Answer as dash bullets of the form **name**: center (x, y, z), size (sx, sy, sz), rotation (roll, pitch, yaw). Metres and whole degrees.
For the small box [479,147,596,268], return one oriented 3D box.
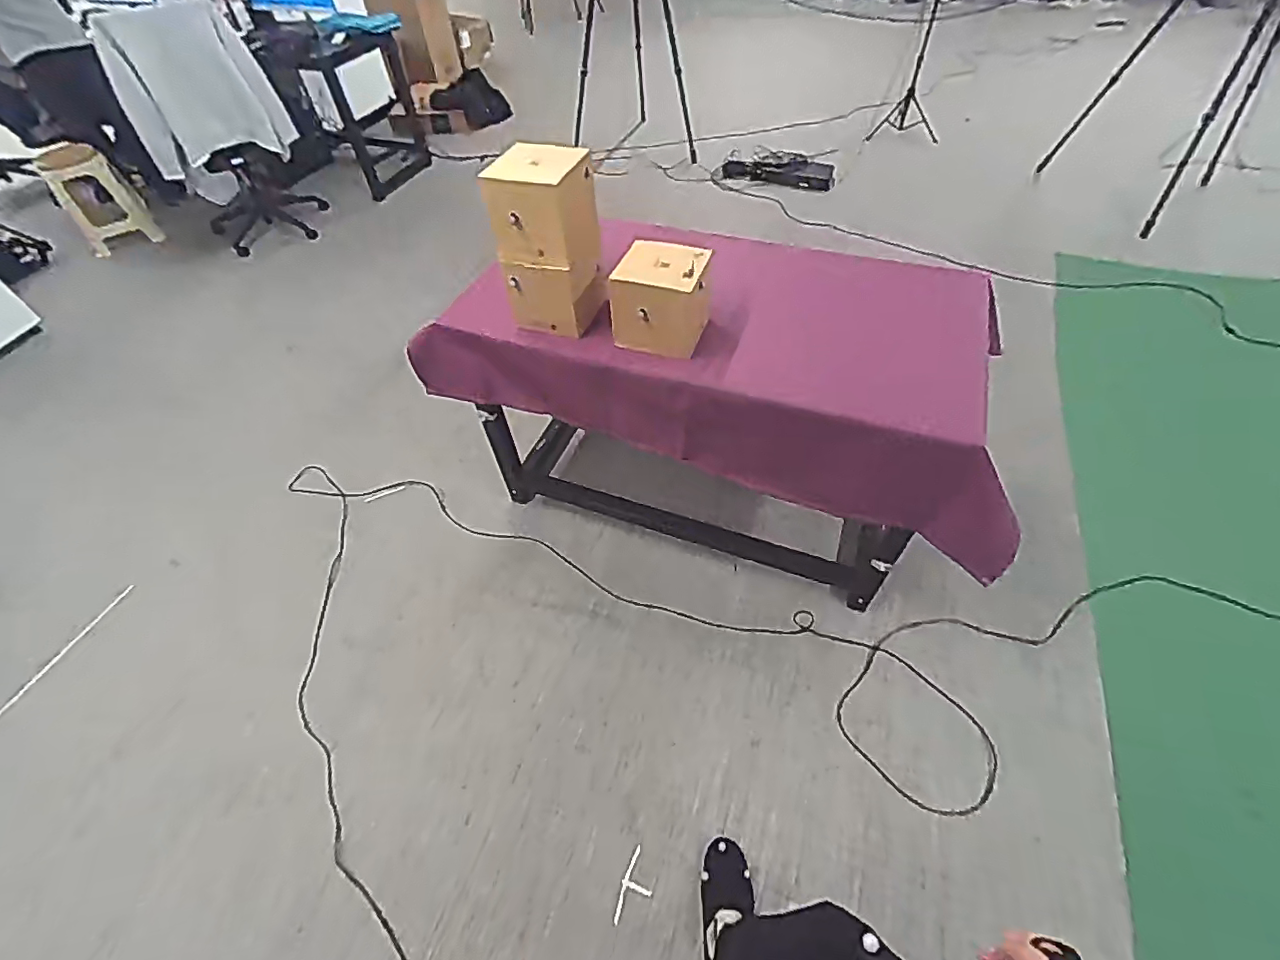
- **small box**: center (-0.198, -0.559, 1.111), size (0.168, 0.176, 0.179), rotation (12, 52, 13)

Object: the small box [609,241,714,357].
- **small box**: center (0.050, -0.386, 1.163), size (0.179, 0.176, 0.168), rotation (14, 54, 15)
